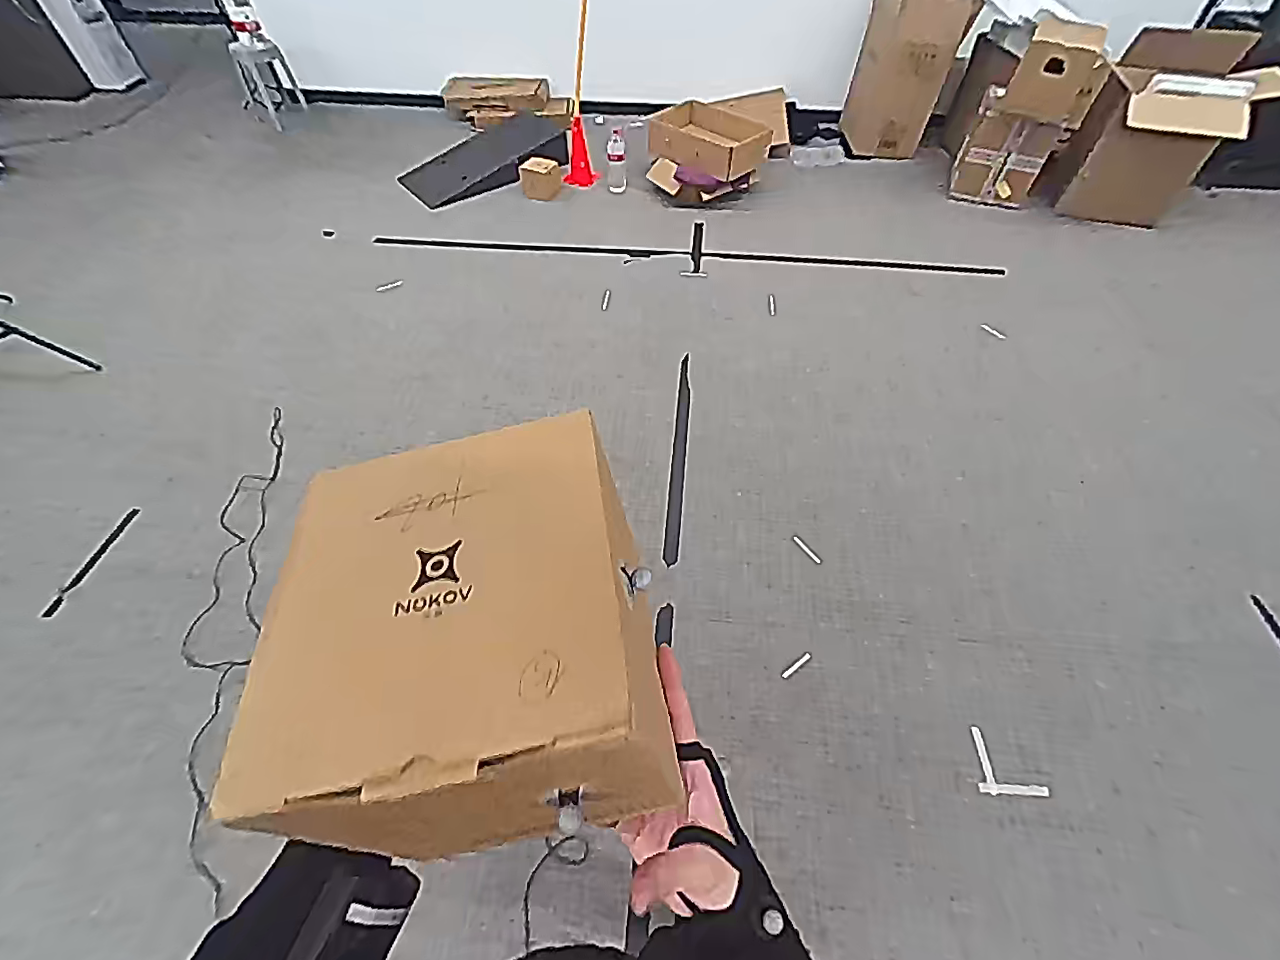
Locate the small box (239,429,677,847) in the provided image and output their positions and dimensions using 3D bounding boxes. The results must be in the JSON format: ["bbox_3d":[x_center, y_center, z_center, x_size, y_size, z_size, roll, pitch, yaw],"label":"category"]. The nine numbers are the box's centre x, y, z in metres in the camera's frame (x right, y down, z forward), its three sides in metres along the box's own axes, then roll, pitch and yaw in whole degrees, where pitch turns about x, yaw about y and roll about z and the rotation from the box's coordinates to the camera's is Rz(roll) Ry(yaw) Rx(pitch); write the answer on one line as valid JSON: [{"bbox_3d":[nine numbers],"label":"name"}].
[{"bbox_3d":[-0.079,0.102,0.324,0.168,0.176,0.179,-13,50,1],"label":"small box"}]
